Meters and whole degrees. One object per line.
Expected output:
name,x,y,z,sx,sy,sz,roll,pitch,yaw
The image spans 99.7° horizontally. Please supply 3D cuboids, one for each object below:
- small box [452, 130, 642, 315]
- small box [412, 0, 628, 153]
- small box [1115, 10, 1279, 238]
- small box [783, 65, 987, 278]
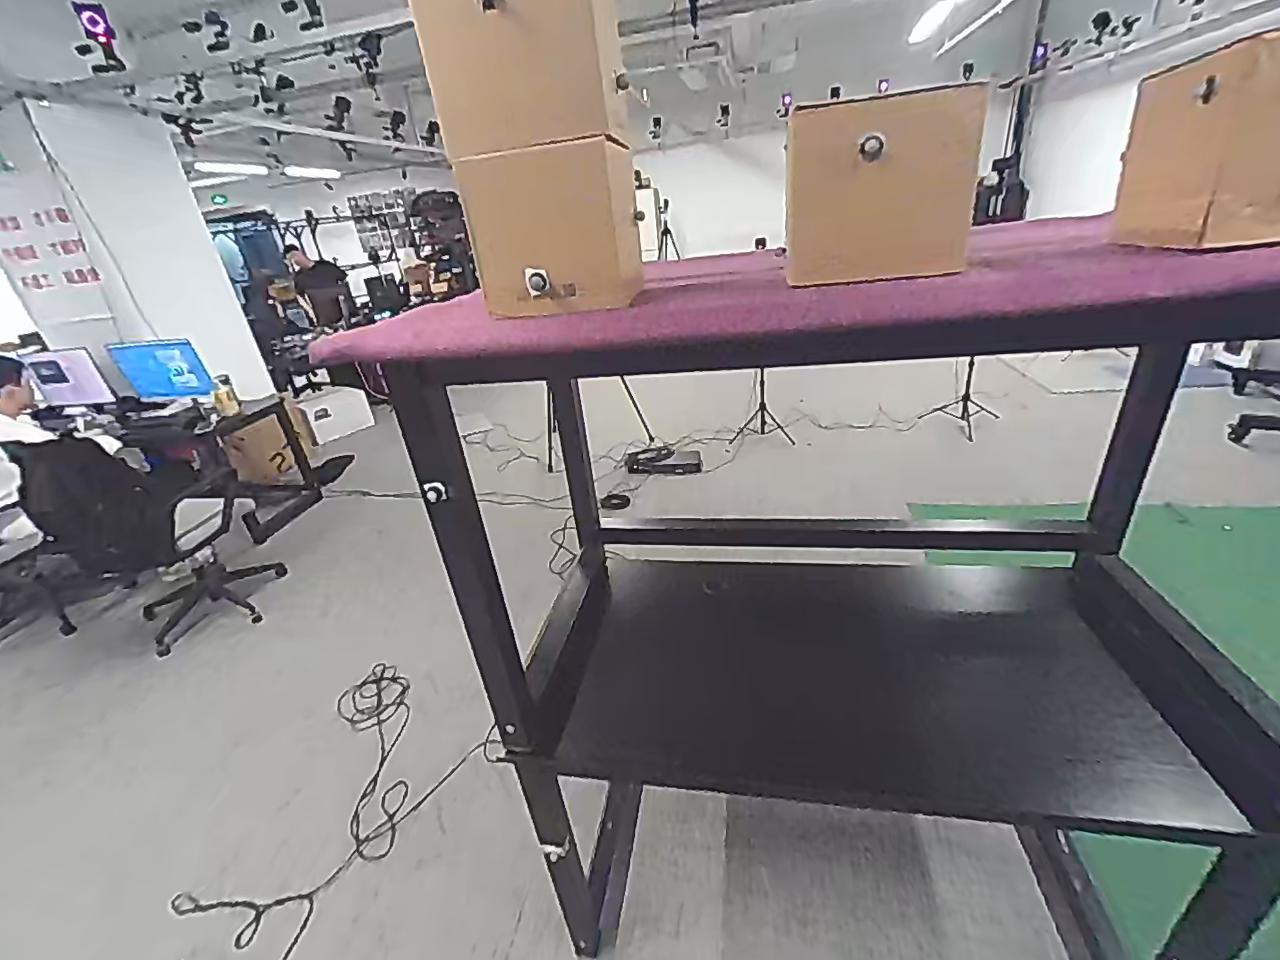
small box,-0.094,-0.301,0.648,0.168,0.176,0.179,-4,27,10
small box,-0.119,-0.448,0.578,0.179,0.176,0.168,-4,27,9
small box,0.602,-0.329,0.514,0.168,0.176,0.179,-1,25,16
small box,0.253,-0.325,0.602,0.179,0.176,0.168,0,26,13
